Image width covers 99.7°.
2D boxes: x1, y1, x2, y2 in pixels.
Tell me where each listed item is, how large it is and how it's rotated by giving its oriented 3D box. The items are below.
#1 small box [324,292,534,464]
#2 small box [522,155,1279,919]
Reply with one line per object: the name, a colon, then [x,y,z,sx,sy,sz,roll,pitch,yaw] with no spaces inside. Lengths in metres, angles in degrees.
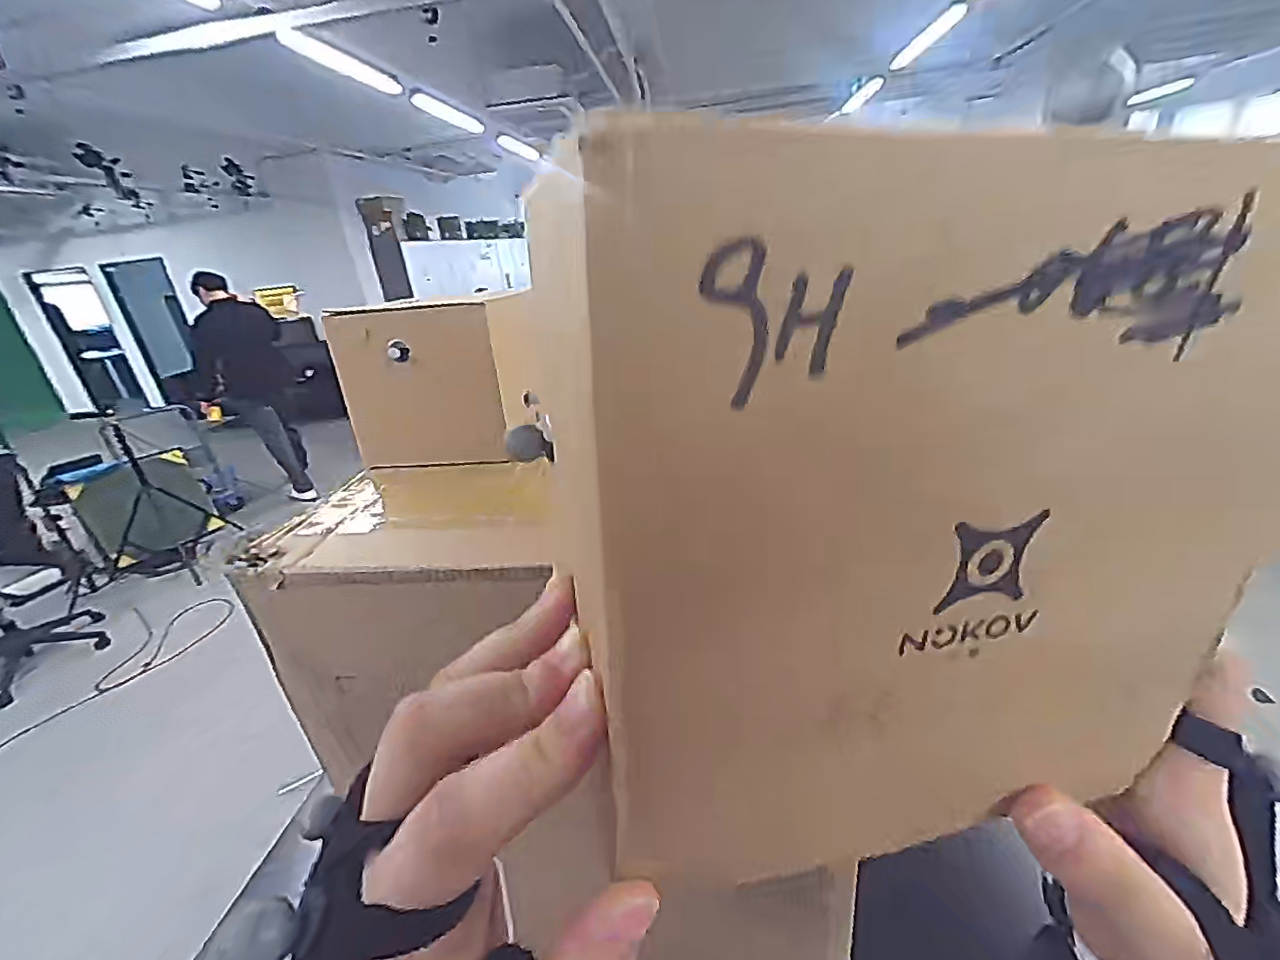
small box: [-0.219,-0.122,0.635,0.179,0.176,0.168,-2,23,8]
small box: [0.050,-0.004,0.190,0.168,0.179,0.176,-6,26,-11]
